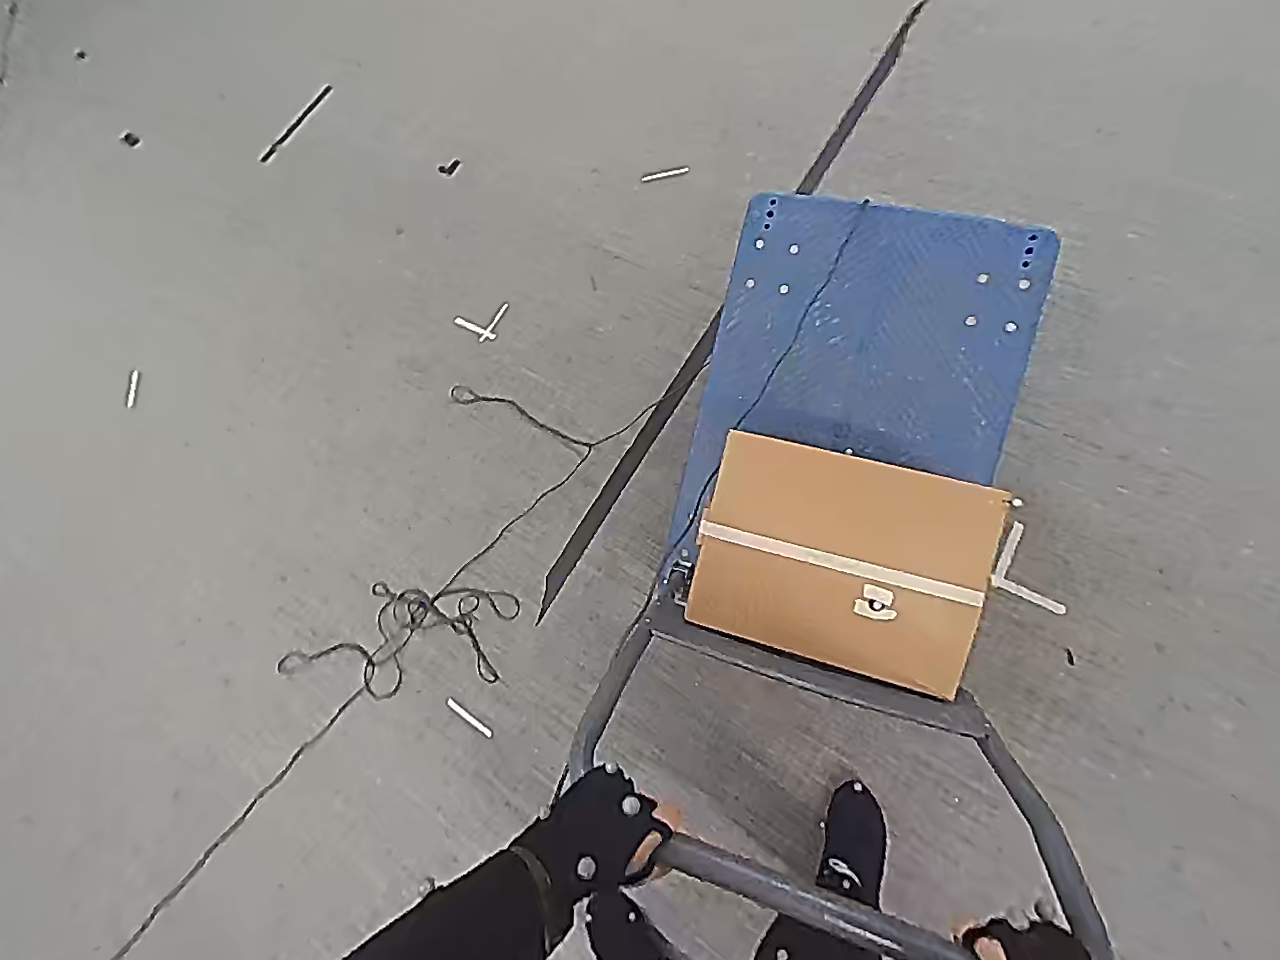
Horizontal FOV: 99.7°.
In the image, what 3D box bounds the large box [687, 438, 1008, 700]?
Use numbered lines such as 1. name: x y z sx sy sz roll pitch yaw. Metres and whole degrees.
1. large box: 0.322 0.122 0.948 0.408 0.320 0.320 14 96 11
